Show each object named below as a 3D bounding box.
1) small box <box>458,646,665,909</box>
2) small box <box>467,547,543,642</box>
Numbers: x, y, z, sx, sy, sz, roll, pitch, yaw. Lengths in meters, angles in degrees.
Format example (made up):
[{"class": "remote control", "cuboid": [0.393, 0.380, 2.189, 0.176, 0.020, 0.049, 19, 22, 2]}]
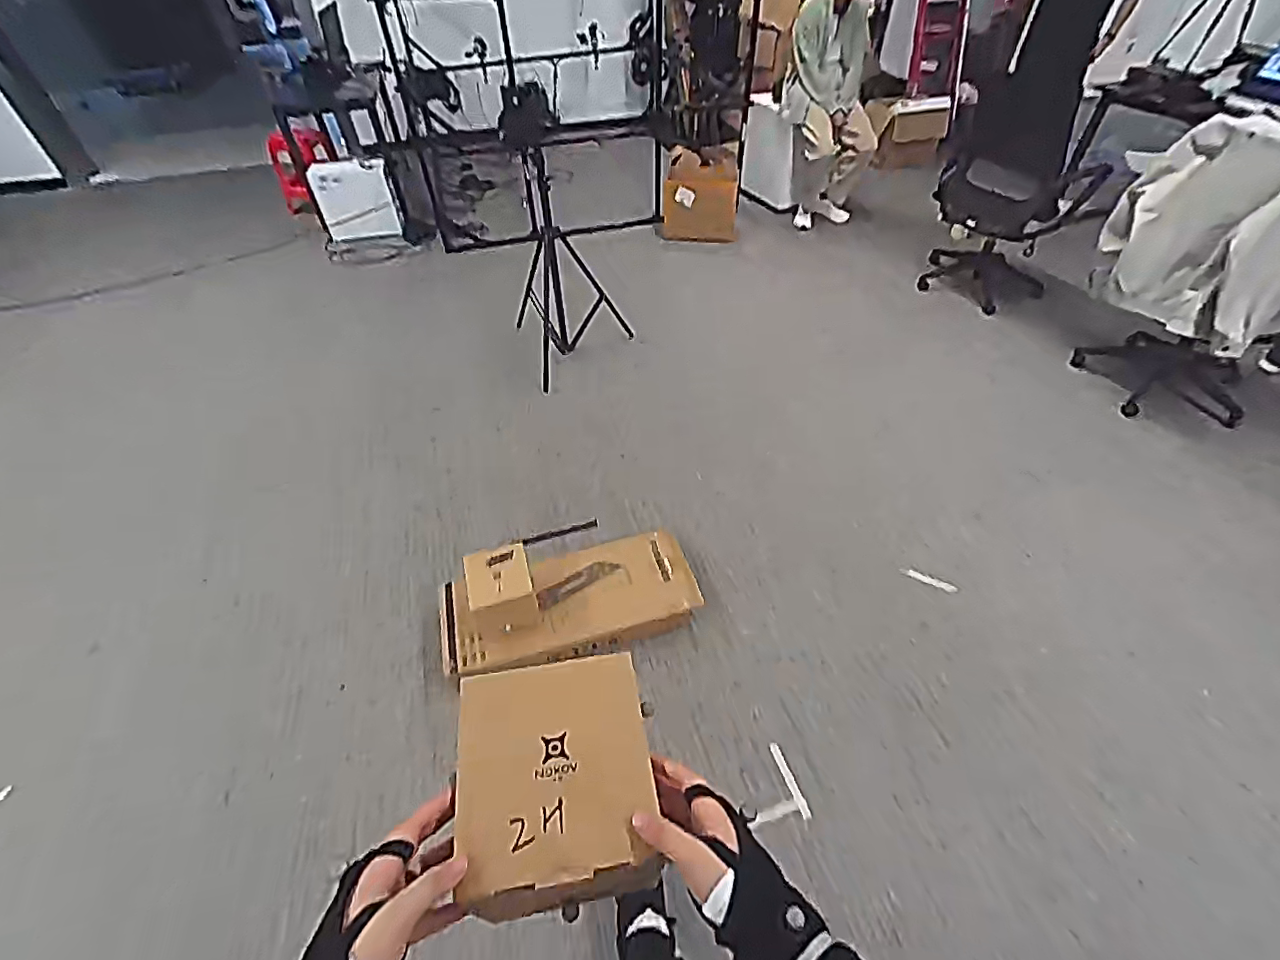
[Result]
[{"class": "small box", "cuboid": [-0.078, 0.294, 0.538, 0.168, 0.176, 0.179, -7, 48, -9]}, {"class": "small box", "cuboid": [-0.374, 0.318, 1.504, 0.168, 0.176, 0.179, -14, 48, -12]}]
